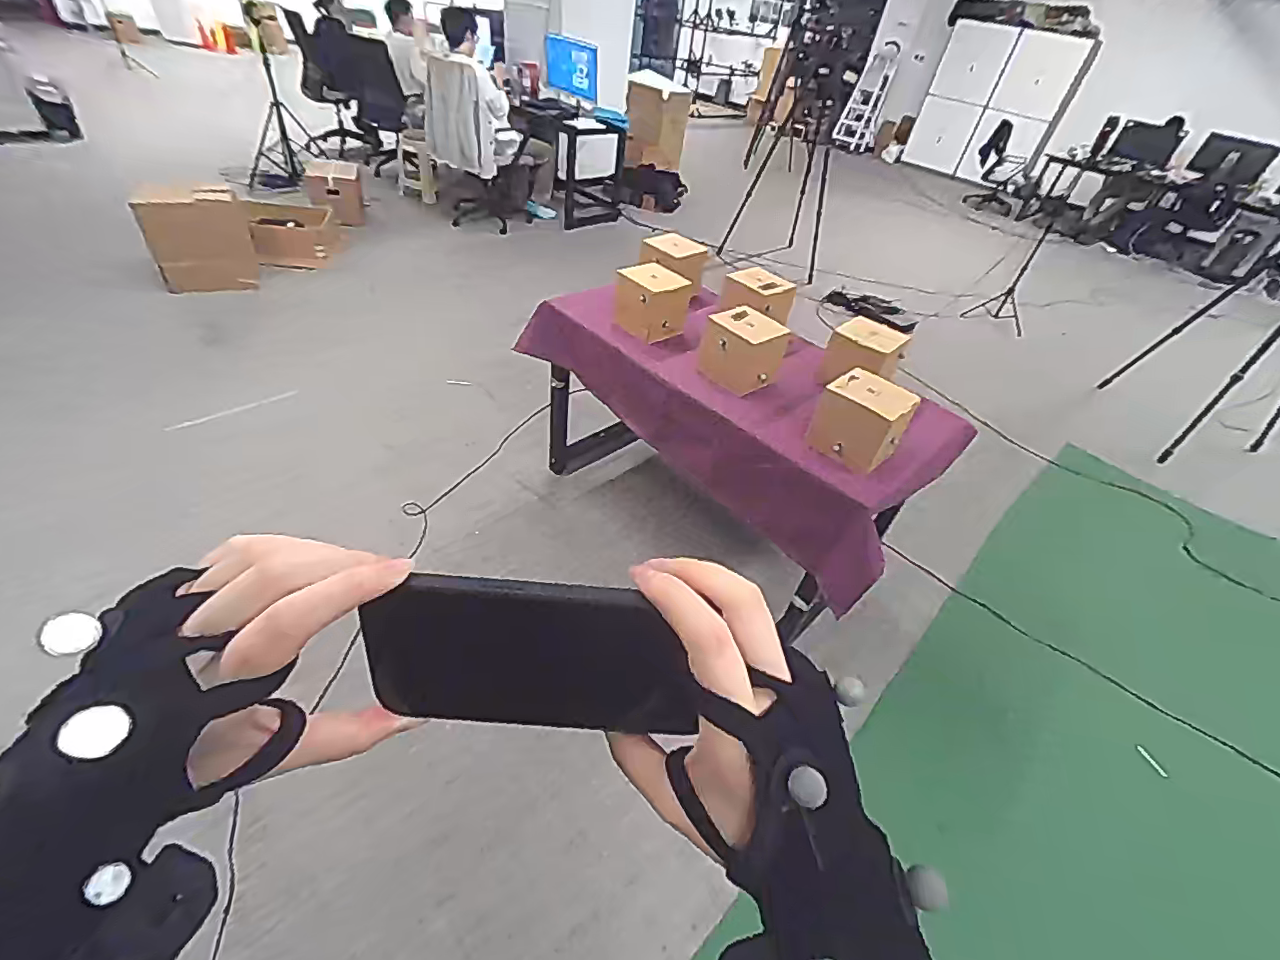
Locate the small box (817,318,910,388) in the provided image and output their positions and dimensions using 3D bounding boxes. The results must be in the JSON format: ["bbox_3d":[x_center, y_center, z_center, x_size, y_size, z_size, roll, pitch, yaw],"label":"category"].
[{"bbox_3d":[0.649,-0.348,1.585,0.168,0.176,0.179,36,48,27],"label":"small box"}]

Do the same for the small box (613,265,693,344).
[{"bbox_3d":[0.034,-0.548,1.689,0.168,0.176,0.179,-27,55,-35],"label":"small box"}]

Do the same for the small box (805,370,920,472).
[{"bbox_3d":[0.542,-0.140,1.331,0.179,0.176,0.168,38,48,28],"label":"small box"}]

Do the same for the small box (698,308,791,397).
[{"bbox_3d":[0.288,-0.361,1.530,0.168,0.176,0.179,-26,53,-34],"label":"small box"}]
